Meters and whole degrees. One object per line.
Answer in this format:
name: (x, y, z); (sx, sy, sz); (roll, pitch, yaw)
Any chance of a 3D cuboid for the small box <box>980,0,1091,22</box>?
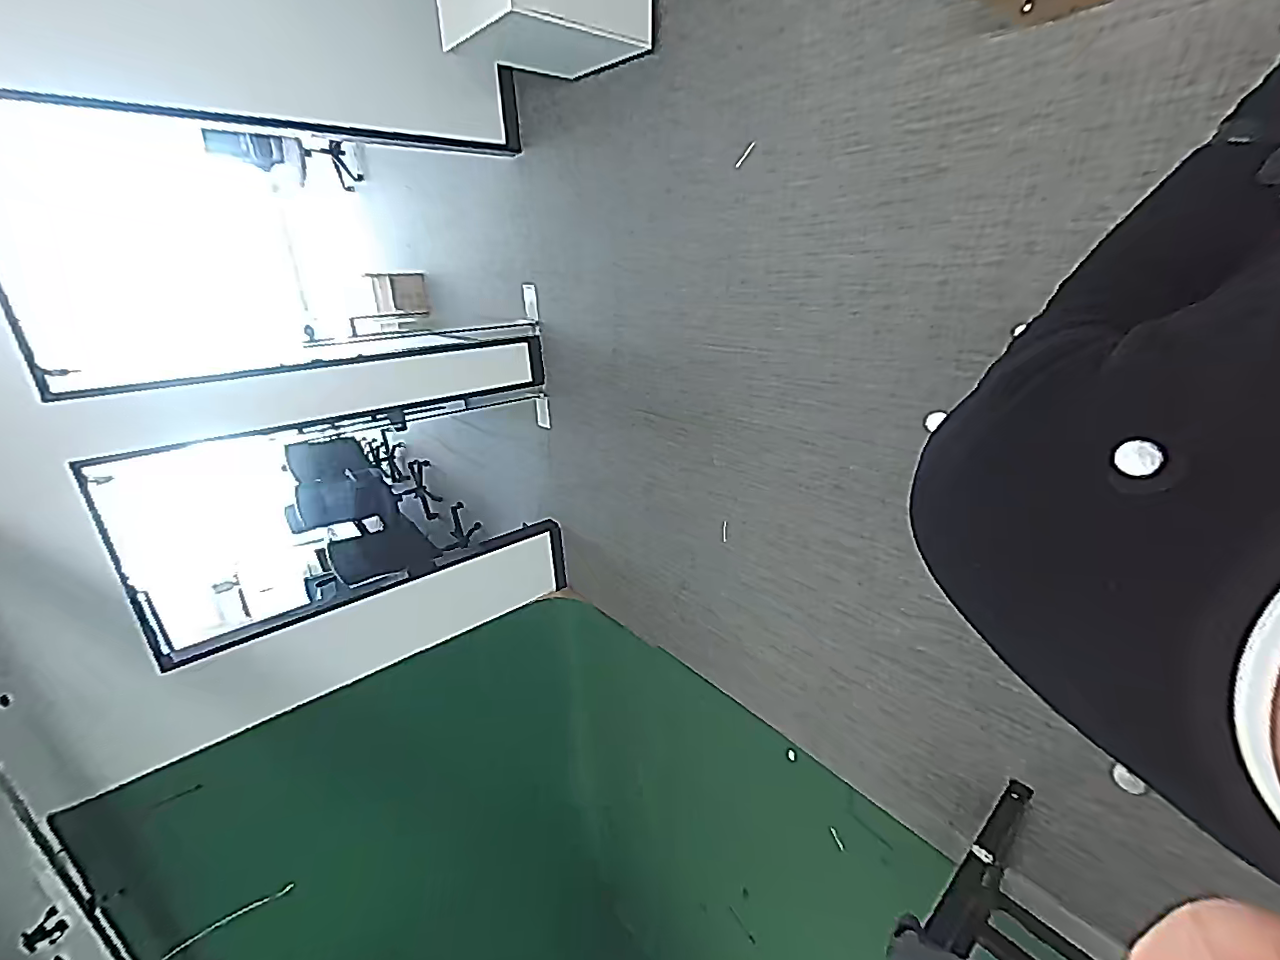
small box: (0.802, -1.043, 1.055); (0.168, 0.176, 0.179); (24, 124, 45)
